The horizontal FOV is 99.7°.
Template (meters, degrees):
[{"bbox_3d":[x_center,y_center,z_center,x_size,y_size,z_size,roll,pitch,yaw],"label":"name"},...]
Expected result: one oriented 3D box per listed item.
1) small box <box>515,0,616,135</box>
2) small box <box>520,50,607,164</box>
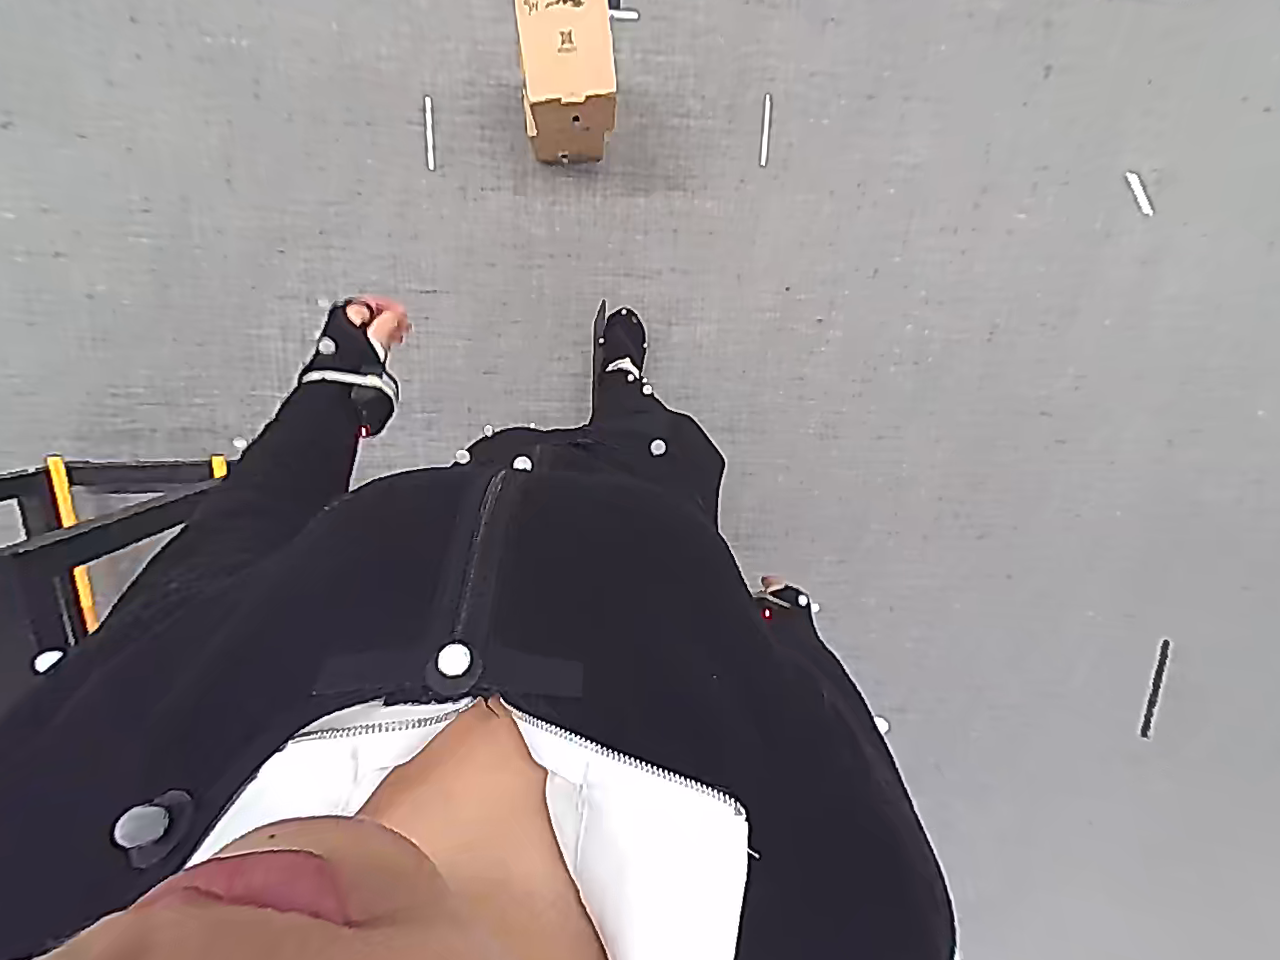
[{"bbox_3d":[-0.135,-0.791,1.043,0.168,0.176,0.179,-6,104,-2],"label":"small box"},{"bbox_3d":[-0.165,-0.829,1.201,0.168,0.176,0.179,-5,105,-2],"label":"small box"}]
